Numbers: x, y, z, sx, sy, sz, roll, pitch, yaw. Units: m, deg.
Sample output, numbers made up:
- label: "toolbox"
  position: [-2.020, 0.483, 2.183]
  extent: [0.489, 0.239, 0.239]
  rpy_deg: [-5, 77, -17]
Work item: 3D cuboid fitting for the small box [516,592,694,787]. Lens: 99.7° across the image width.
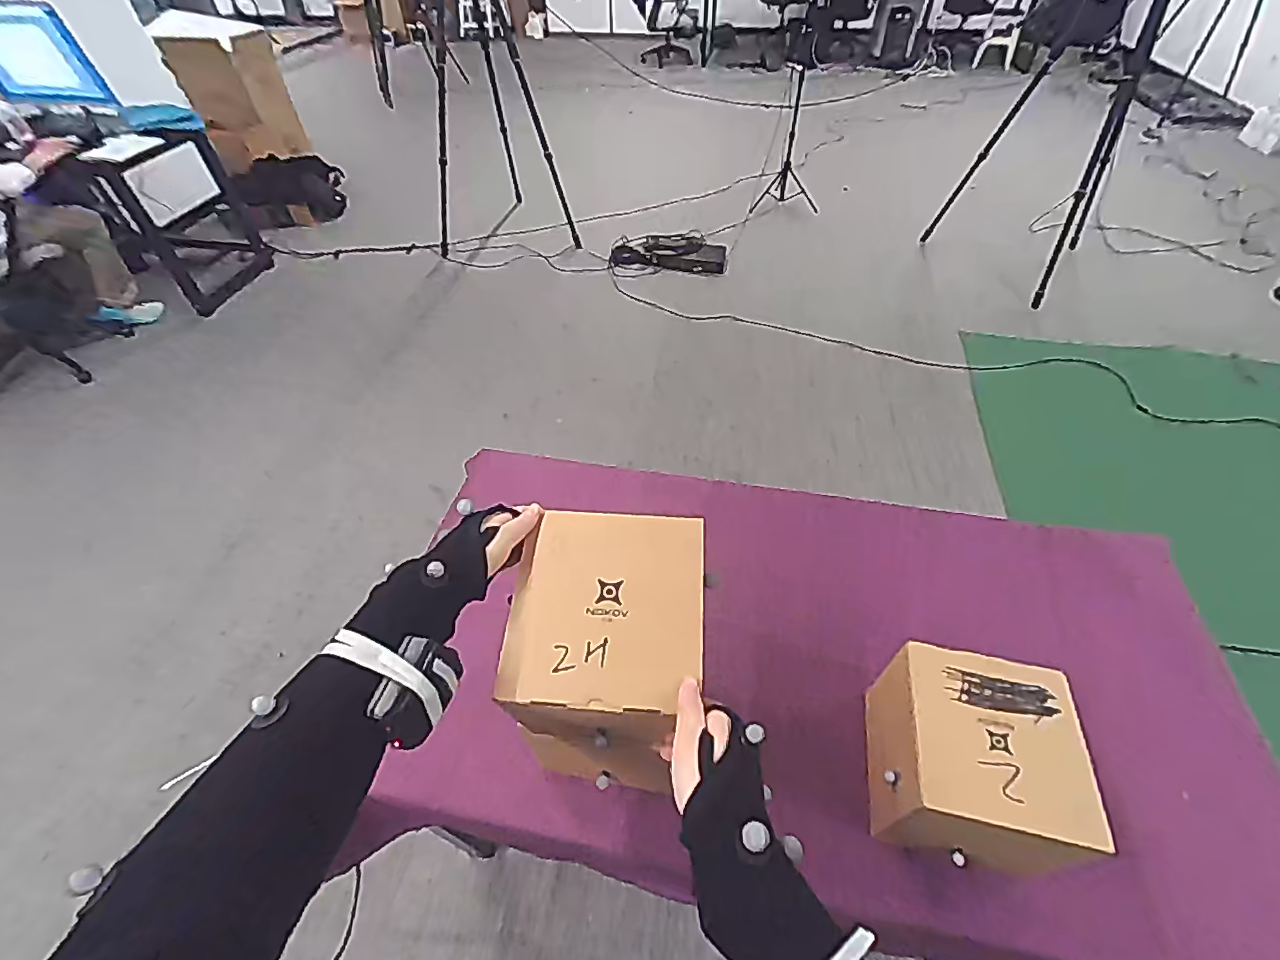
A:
- label: "small box"
  position: [-0.034, 0.265, 0.674]
  extent: [0.179, 0.176, 0.168]
  rpy_deg: [7, 48, 6]
